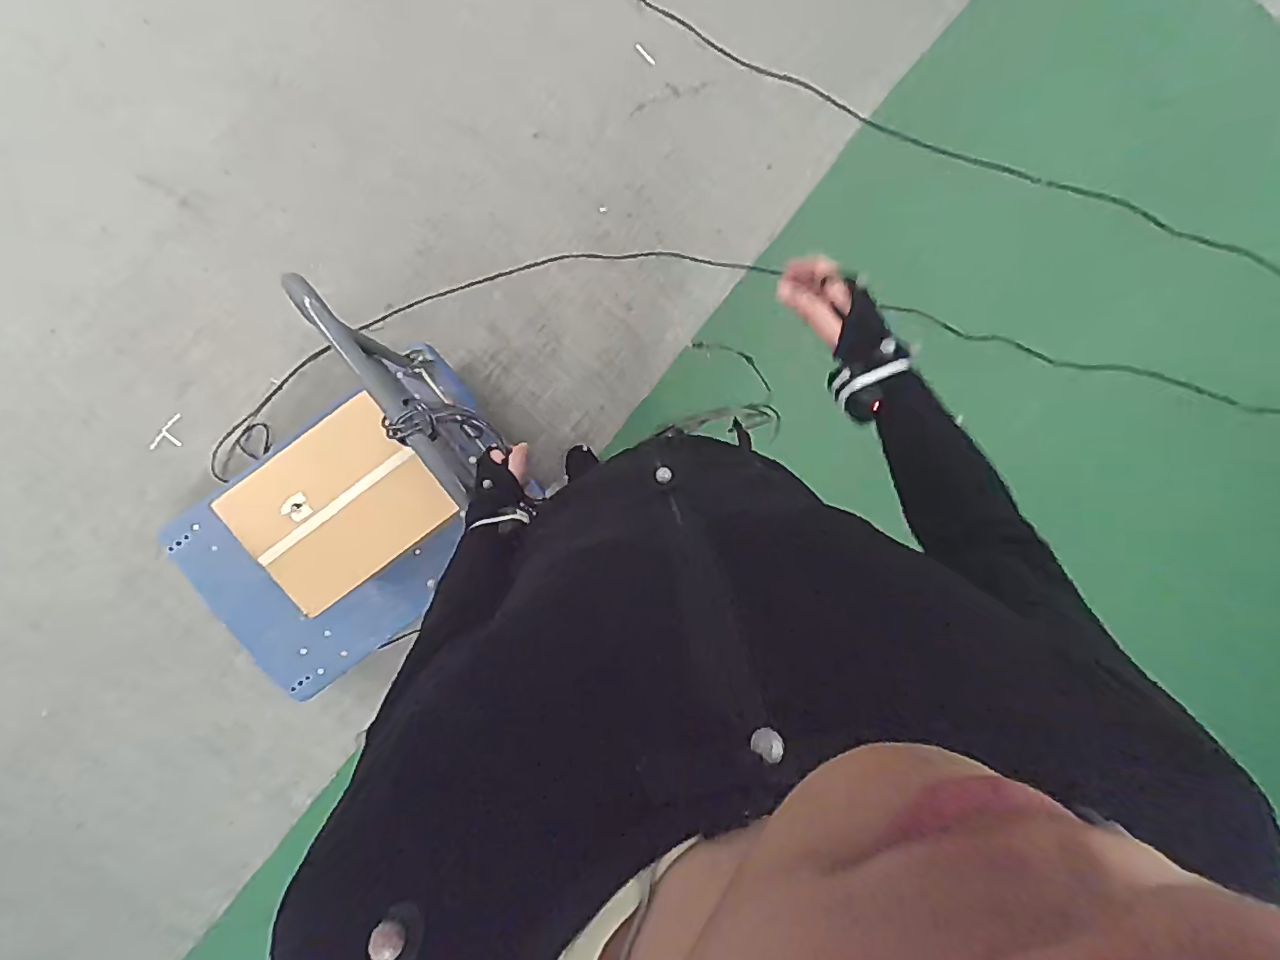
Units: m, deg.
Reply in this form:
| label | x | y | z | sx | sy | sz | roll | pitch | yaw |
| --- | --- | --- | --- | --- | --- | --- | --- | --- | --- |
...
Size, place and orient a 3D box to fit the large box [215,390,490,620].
| label | x | y | z | sx | sy | sz | roll | pitch | yaw |
| --- | --- | --- | --- | --- | --- | --- | --- | --- | --- |
| large box | -0.626 | 0.039 | 1.256 | 0.408 | 0.320 | 0.320 | -37 | 95 | 1 |
